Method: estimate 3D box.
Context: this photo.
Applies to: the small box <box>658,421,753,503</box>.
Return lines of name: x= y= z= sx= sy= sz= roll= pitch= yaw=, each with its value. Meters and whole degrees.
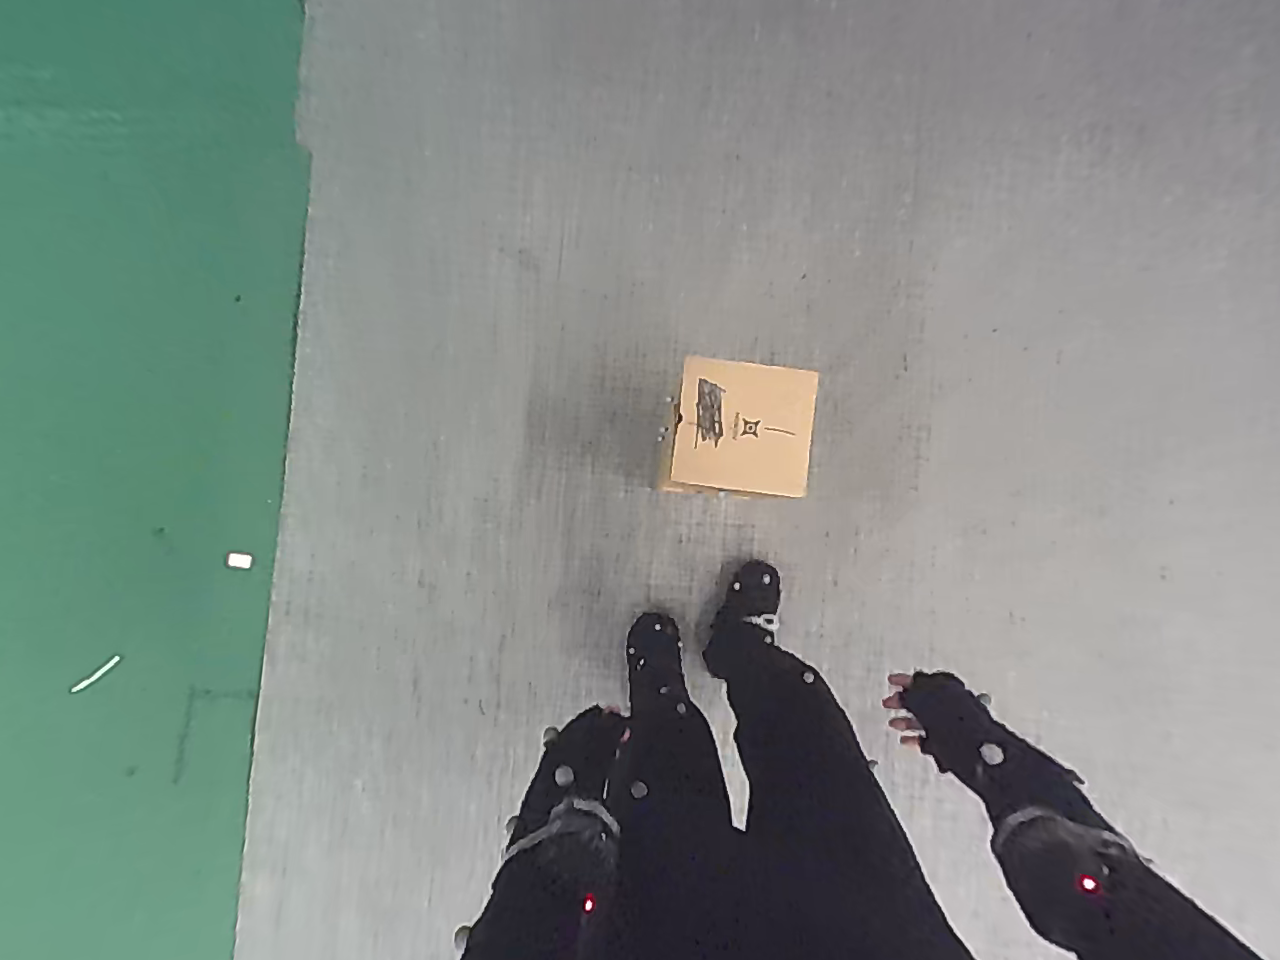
small box: x=0.135 y=-0.044 z=1.101 sx=0.179 sy=0.176 sz=0.168 roll=6 pitch=88 yaw=-1

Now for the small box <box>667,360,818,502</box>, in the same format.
small box: x=0.135 y=-0.060 z=0.774 sx=0.179 sy=0.176 sz=0.168 roll=8 pitch=88 yaw=1
